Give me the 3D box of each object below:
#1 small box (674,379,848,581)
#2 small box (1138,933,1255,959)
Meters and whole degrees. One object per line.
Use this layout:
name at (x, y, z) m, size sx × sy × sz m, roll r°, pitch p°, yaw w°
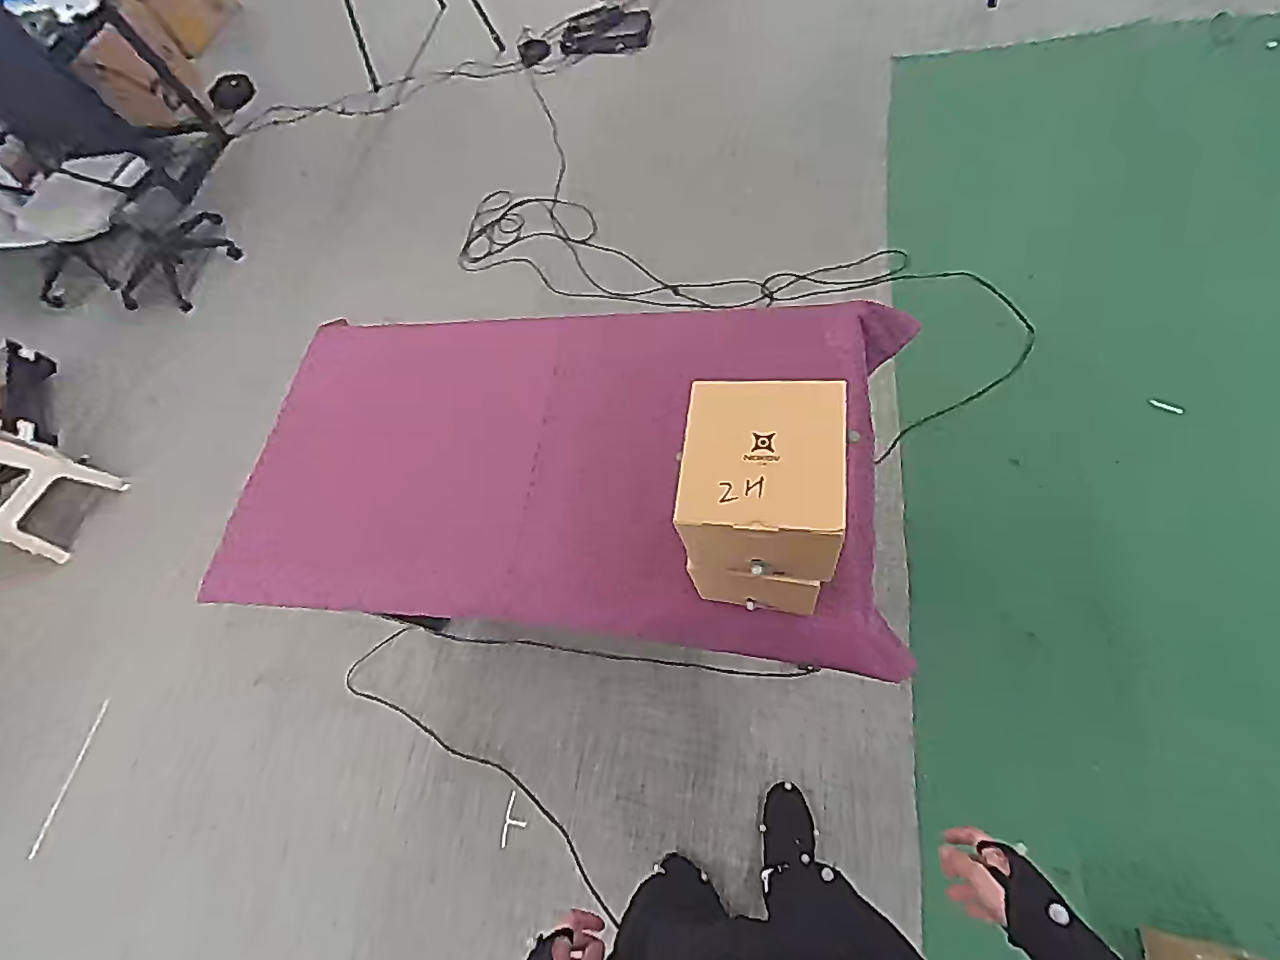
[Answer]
small box at (0.143, 0.003, 0.627) m, size 0.168 × 0.176 × 0.179 m, roll 3°, pitch 66°, yaw 16°
small box at (1.060, 0.954, 0.970) m, size 0.179 × 0.176 × 0.168 m, roll 2°, pitch 65°, yaw 15°
